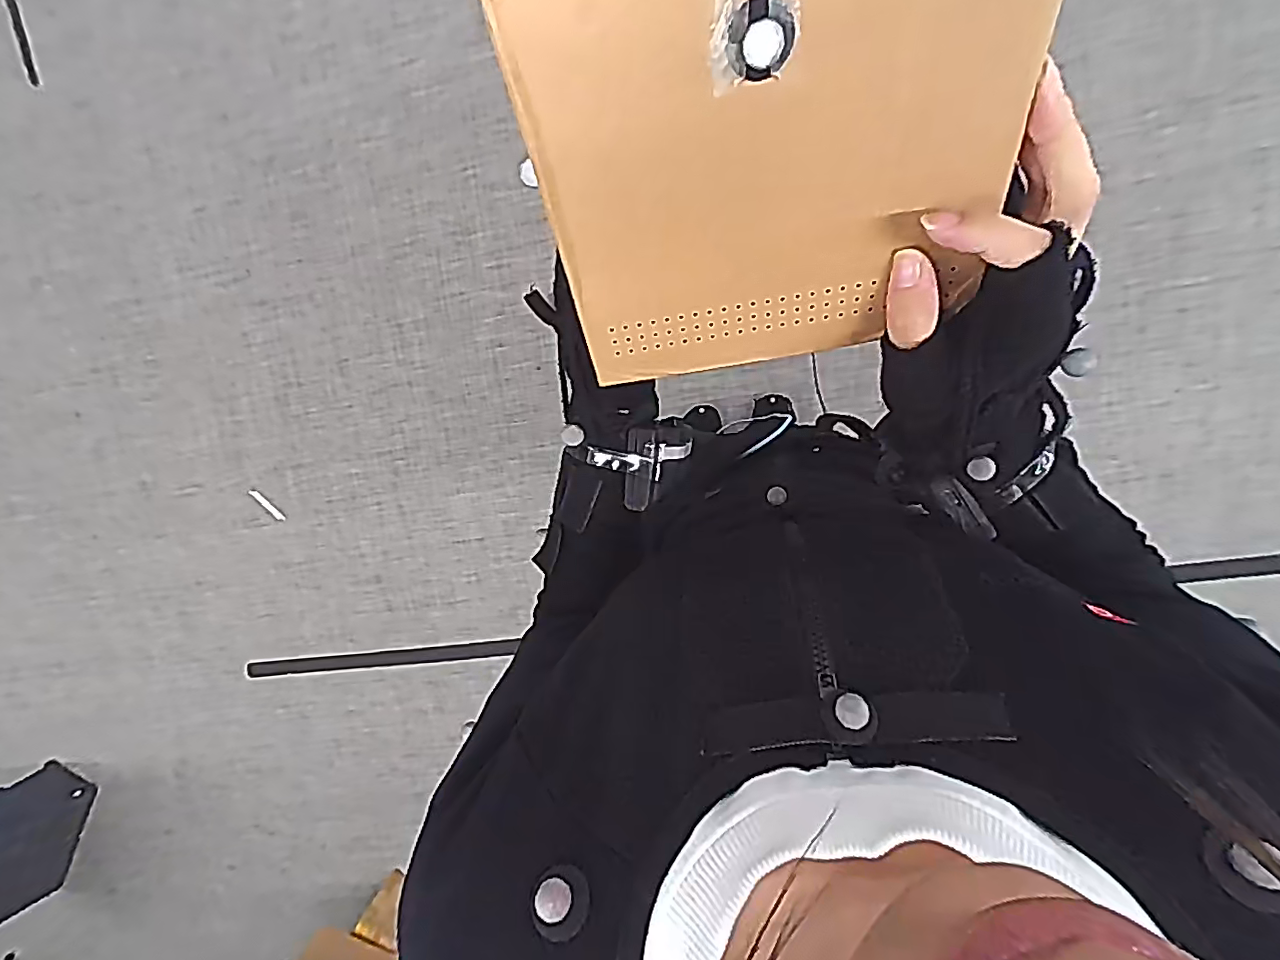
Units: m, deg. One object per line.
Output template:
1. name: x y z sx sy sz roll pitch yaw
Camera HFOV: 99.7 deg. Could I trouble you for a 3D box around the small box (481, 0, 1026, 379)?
1. small box: 0.051 -0.166 0.259 0.179 0.168 0.176 -7 138 8
